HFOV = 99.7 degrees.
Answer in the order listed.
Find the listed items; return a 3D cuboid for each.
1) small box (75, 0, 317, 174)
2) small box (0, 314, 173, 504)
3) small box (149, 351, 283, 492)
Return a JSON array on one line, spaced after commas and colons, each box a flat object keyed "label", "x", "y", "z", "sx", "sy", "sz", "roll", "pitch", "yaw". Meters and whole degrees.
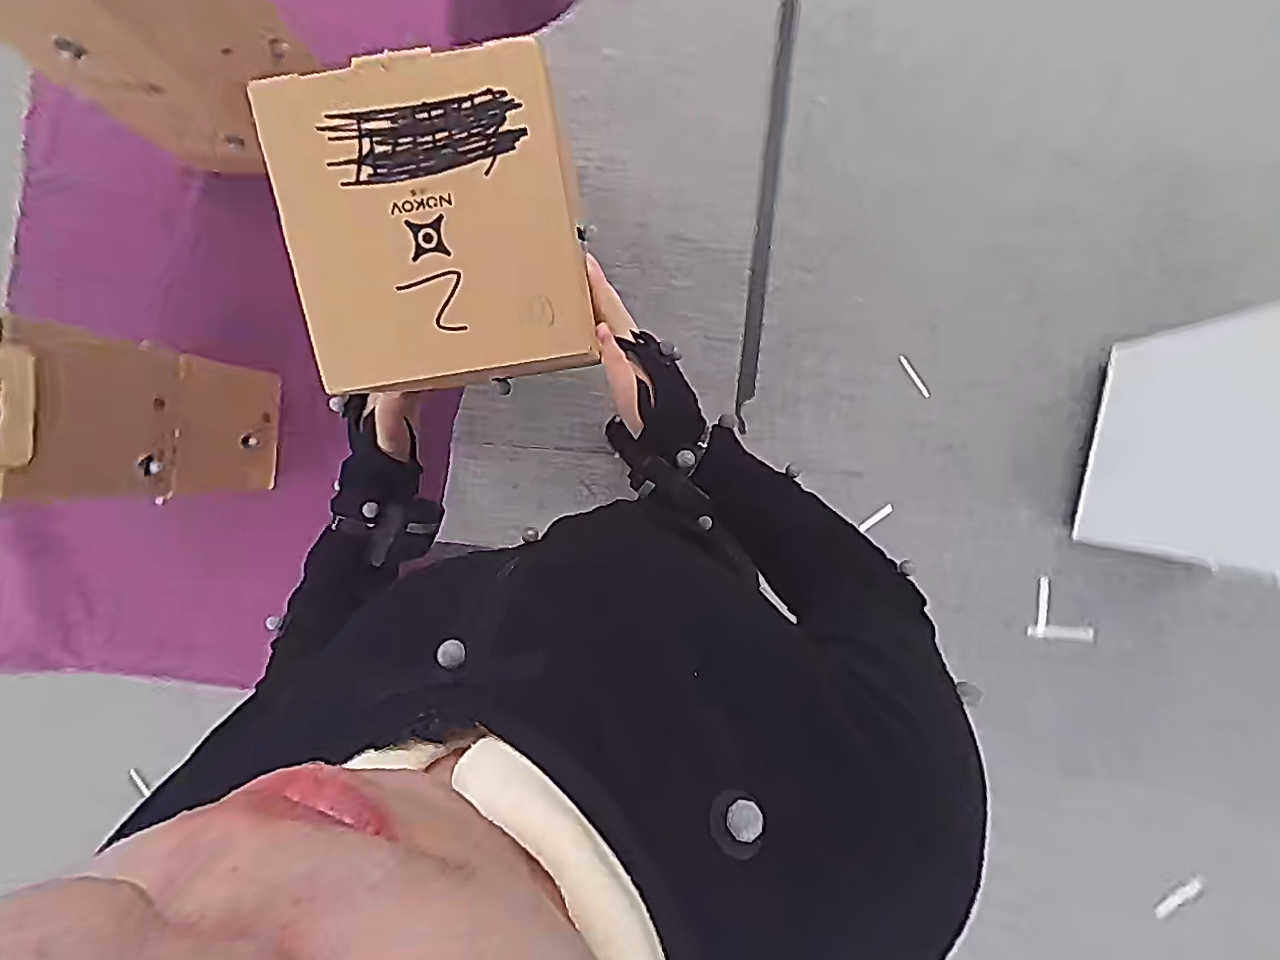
[{"label": "small box", "x": -0.549, "y": -0.519, "z": 0.691, "sx": 0.179, "sy": 0.176, "sz": 0.168, "roll": 5, "pitch": 92, "yaw": 3}, {"label": "small box", "x": -0.622, "y": -0.069, "z": 0.544, "sx": 0.179, "sy": 0.176, "sz": 0.168, "roll": 3, "pitch": 91, "yaw": 2}, {"label": "small box", "x": -0.615, "y": -0.074, "z": 0.708, "sx": 0.179, "sy": 0.176, "sz": 0.168, "roll": 4, "pitch": 92, "yaw": 1}]
